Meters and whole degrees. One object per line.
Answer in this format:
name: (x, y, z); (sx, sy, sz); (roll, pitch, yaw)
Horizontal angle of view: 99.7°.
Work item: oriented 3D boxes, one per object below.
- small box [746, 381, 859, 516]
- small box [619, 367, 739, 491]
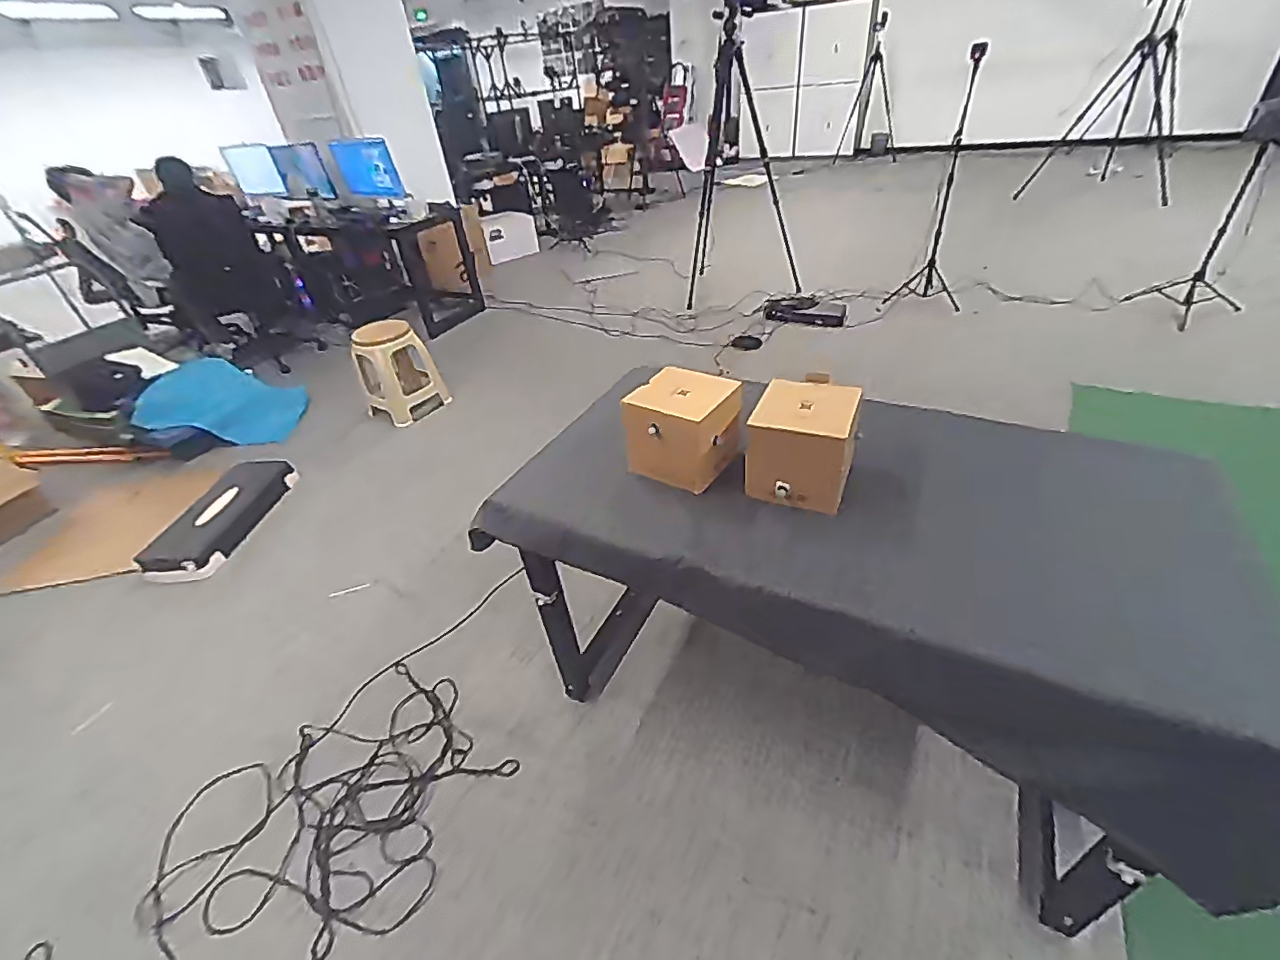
small box: (0.295, -0.061, 0.994); (0.168, 0.176, 0.179); (11, 40, 23)
small box: (0.082, -0.100, 1.073); (0.179, 0.176, 0.168); (20, 44, 31)
